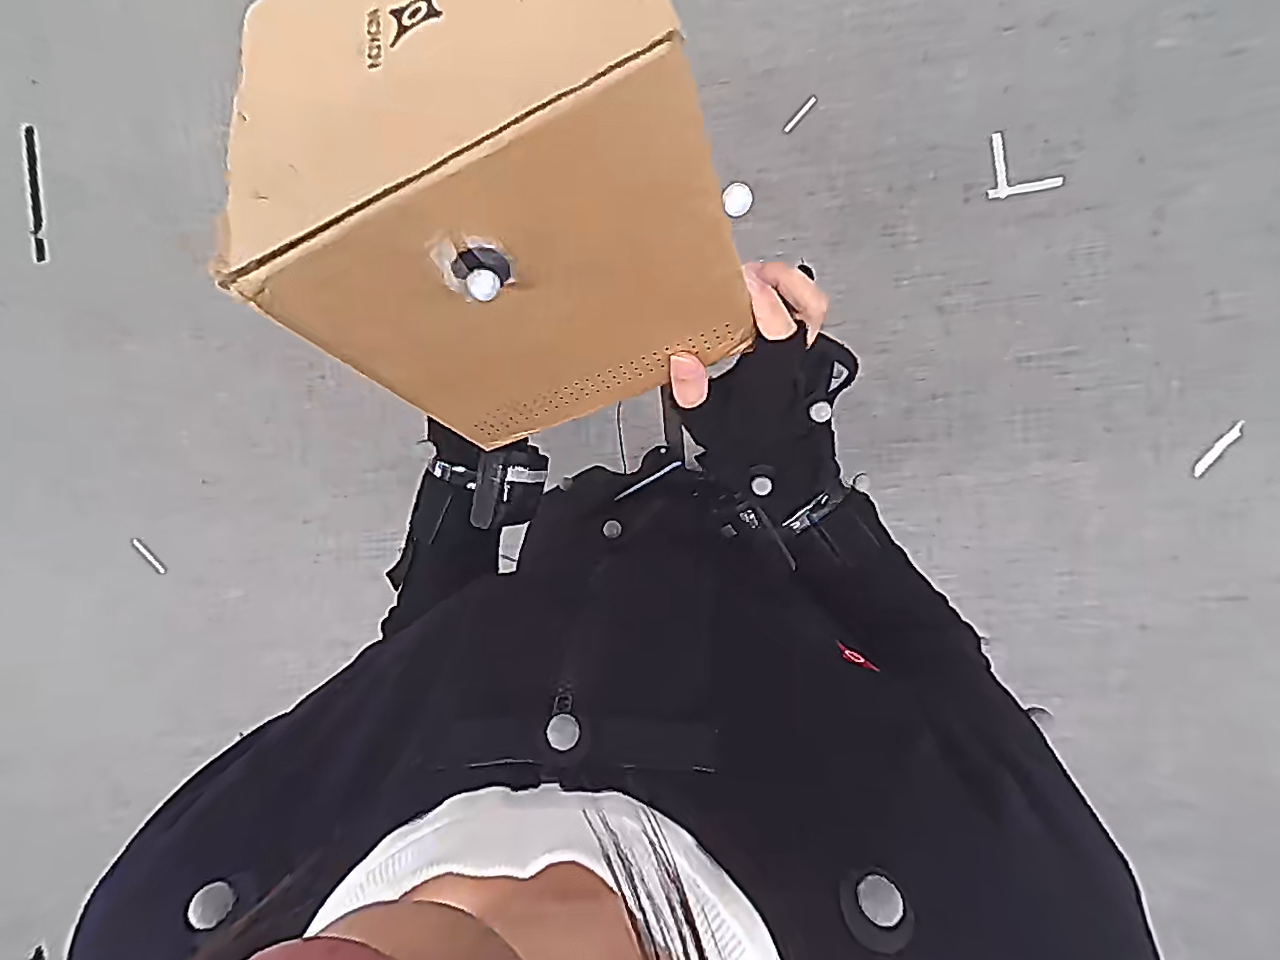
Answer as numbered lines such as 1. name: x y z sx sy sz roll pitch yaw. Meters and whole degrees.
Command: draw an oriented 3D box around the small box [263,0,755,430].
1. small box: -0.053 -0.147 0.288 0.179 0.176 0.168 -18 67 14
